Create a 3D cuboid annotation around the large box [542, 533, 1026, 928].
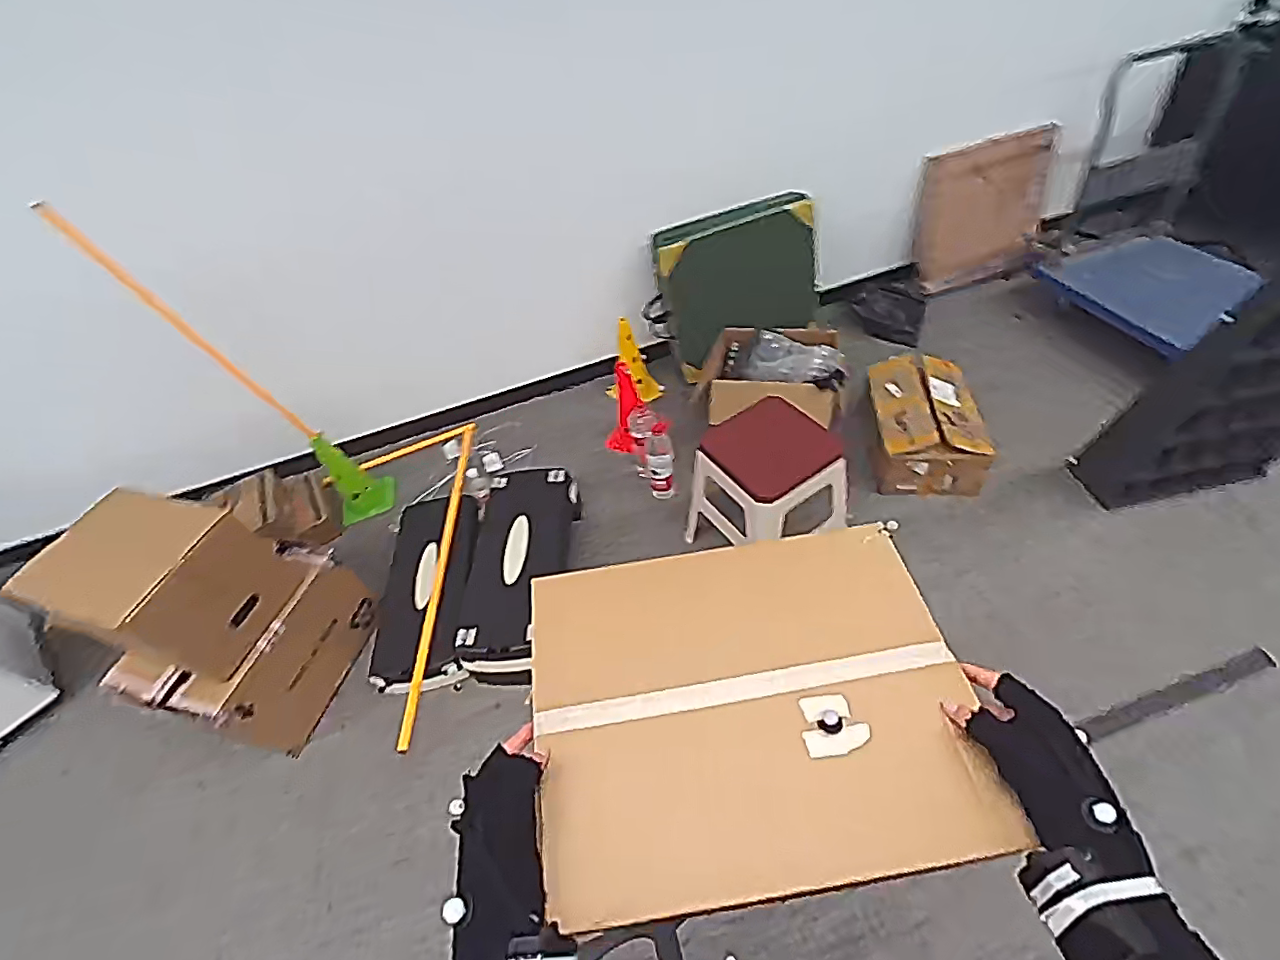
[{"bbox_3d":[0.113,0.302,0.643,0.408,0.320,0.320,-8,51,-1],"label":"large box"}]
